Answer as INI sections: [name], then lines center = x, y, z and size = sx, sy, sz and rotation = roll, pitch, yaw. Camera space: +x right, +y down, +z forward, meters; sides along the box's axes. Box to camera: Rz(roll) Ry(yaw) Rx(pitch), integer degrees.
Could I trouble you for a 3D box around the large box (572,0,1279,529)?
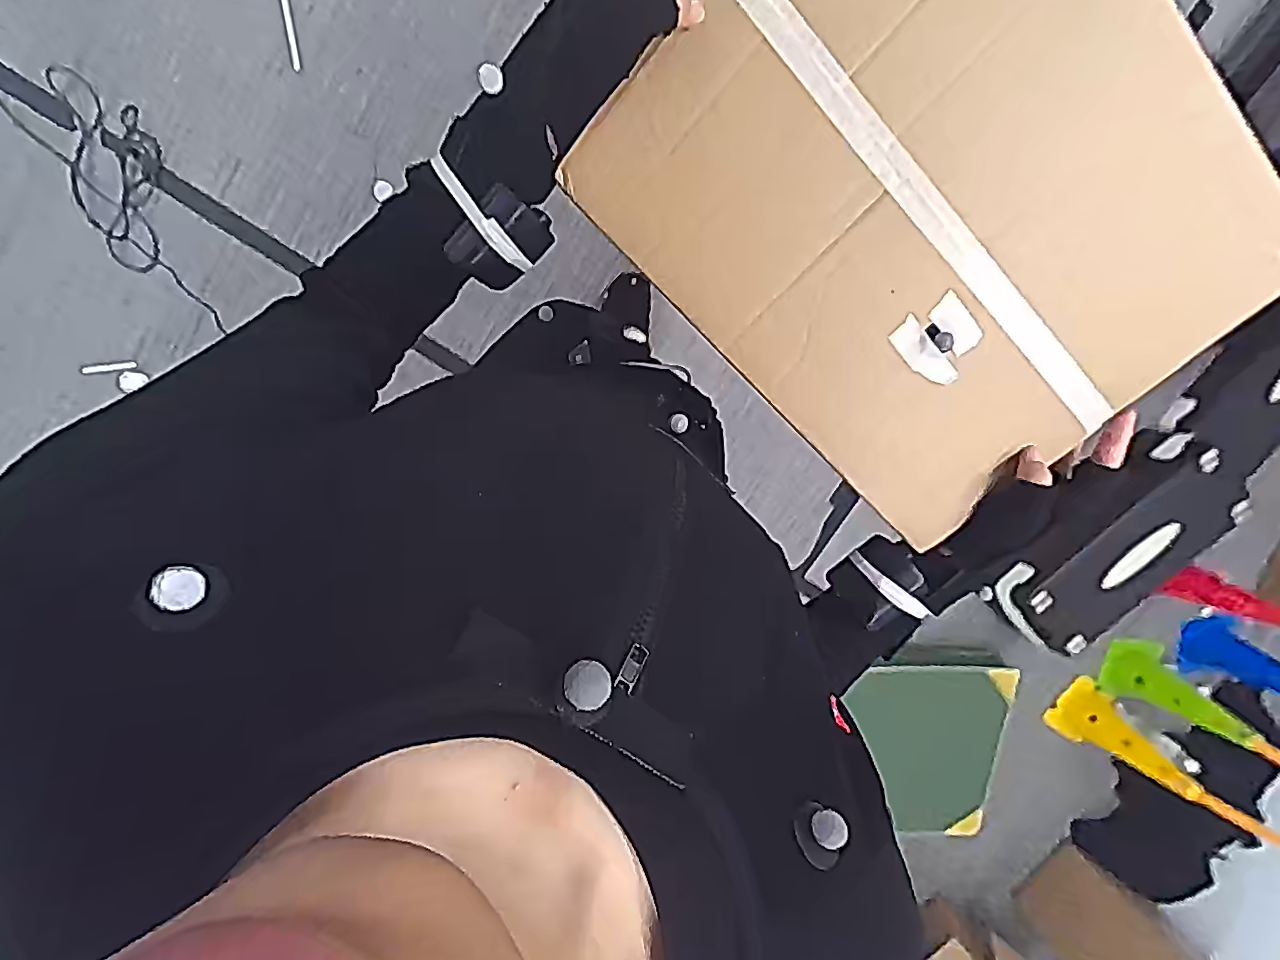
[large box]
center = 0.204, -0.239, 0.505
size = 0.408, 0.320, 0.320
rotation = 42, 110, -13
